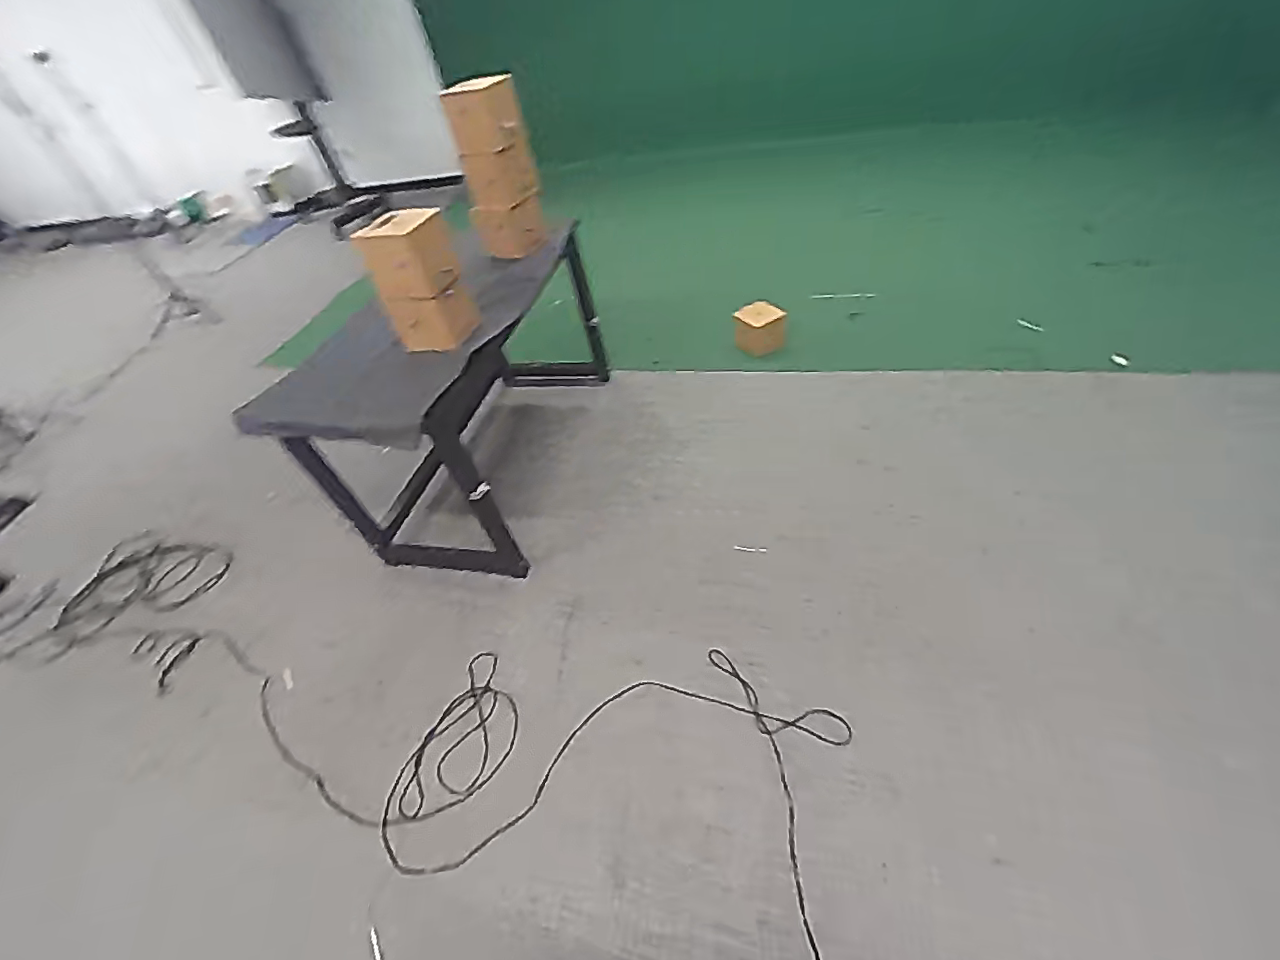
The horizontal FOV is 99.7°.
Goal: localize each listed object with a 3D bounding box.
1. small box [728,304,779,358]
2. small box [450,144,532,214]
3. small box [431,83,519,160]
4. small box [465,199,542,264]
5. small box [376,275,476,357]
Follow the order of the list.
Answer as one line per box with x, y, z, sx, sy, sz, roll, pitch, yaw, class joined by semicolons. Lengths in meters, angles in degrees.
0.536;-0.695;2.546;0.168;0.176;0.179;-30;47;-15;small box
-0.497;-1.018;1.834;0.179;0.176;0.168;13;50;27;small box
-0.519;-1.137;1.722;0.179;0.176;0.168;9;49;22;small box
-0.481;-0.894;1.938;0.179;0.176;0.168;18;53;30;small box
-0.609;-0.468;1.560;0.179;0.176;0.168;2;47;16;small box
